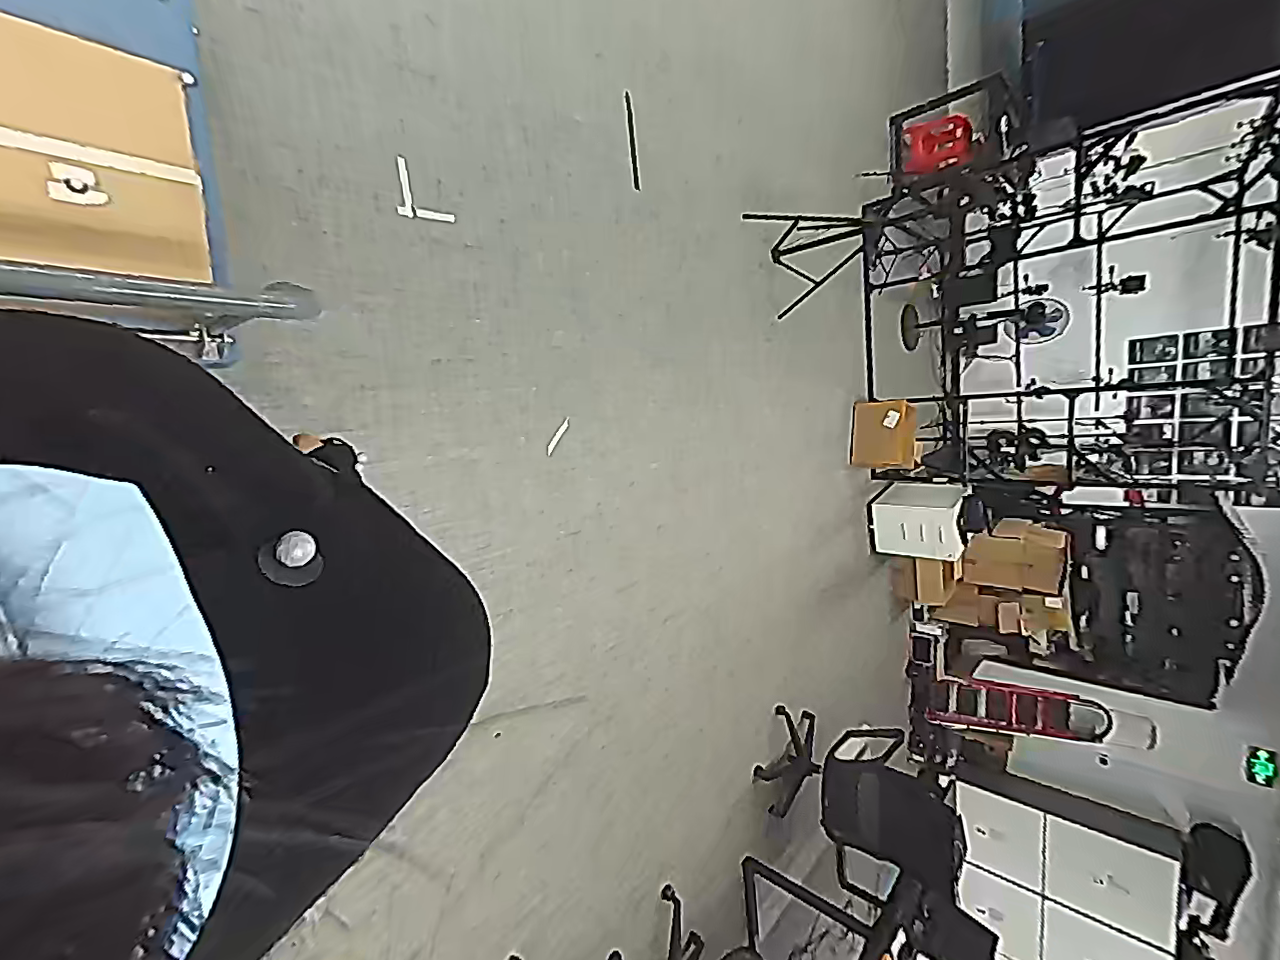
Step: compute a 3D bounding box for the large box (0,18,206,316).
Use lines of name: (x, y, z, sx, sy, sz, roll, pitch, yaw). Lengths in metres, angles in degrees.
large box: (-0.931, -0.434, 0.779, 0.408, 0.320, 0.320, -10, 100, -48)
